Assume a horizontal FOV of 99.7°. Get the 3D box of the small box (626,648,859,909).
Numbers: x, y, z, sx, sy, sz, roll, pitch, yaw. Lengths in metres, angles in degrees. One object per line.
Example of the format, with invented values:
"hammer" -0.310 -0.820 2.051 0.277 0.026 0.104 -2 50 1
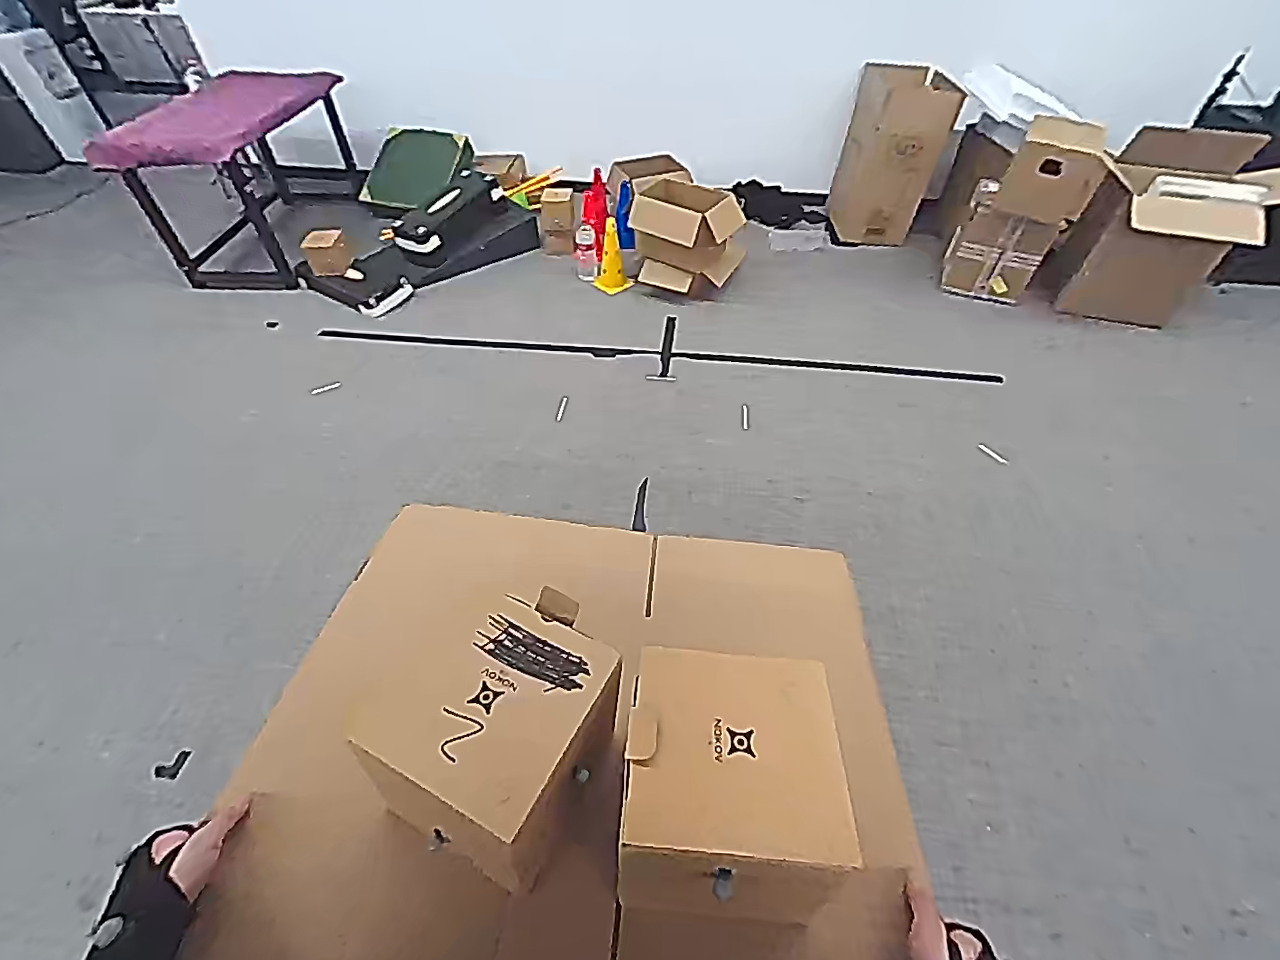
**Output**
"small box" 0.082 0.284 0.514 0.179 0.176 0.168 3 41 3
